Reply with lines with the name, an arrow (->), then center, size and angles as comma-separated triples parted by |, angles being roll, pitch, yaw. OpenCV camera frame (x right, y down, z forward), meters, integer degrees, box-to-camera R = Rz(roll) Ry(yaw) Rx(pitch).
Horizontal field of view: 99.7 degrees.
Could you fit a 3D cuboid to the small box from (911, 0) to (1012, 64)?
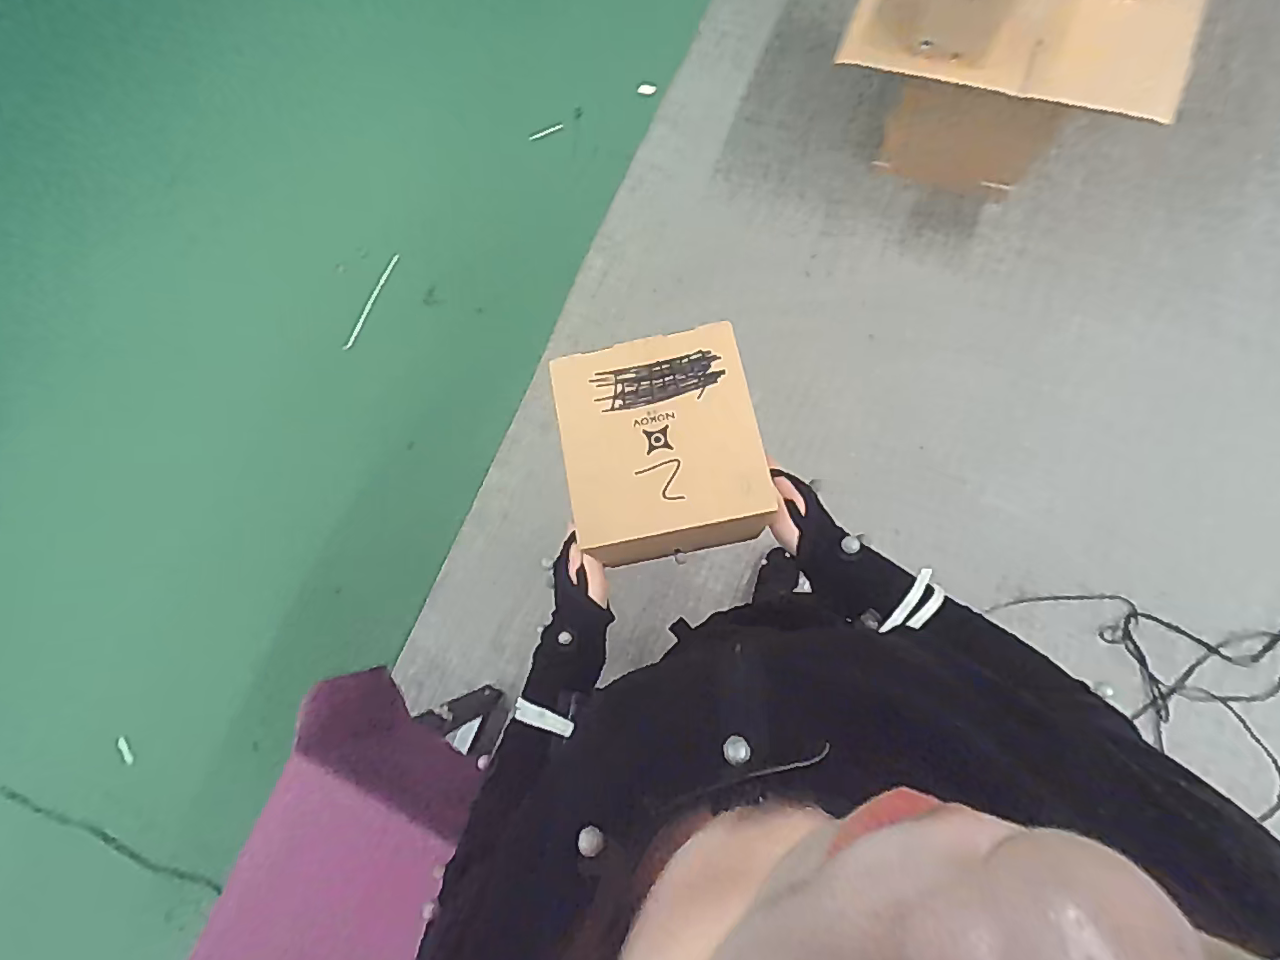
small box -> 0.694, -1.025, 1.133 | 0.168, 0.176, 0.179 | 22, 81, 12
